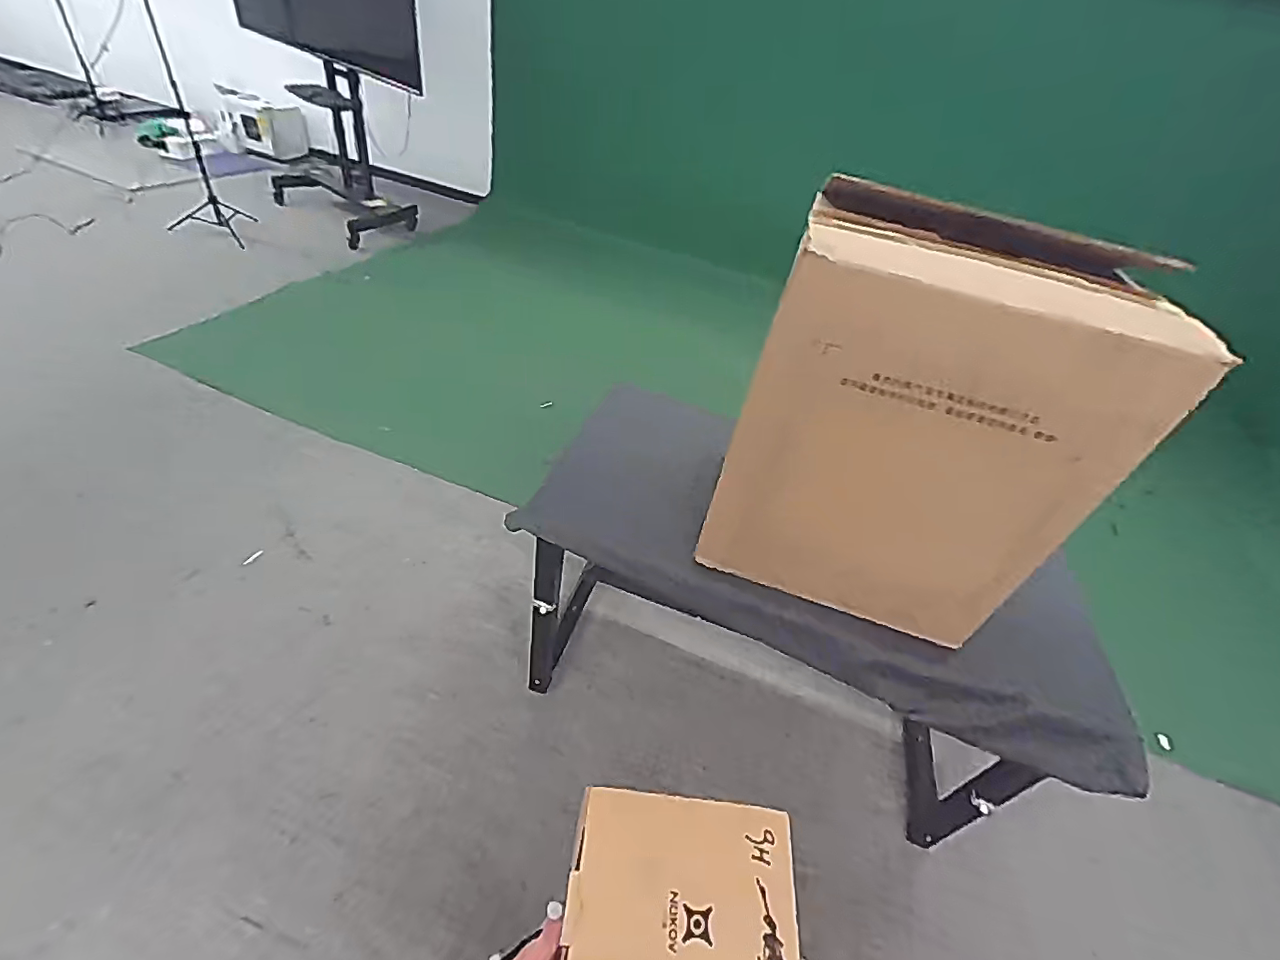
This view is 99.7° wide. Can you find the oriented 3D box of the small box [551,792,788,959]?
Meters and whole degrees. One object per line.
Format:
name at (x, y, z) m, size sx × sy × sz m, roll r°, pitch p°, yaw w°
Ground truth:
small box at (0.016, 0.390, 0.468) m, size 0.179 × 0.176 × 0.168 m, roll 10°, pitch 49°, yaw -3°
